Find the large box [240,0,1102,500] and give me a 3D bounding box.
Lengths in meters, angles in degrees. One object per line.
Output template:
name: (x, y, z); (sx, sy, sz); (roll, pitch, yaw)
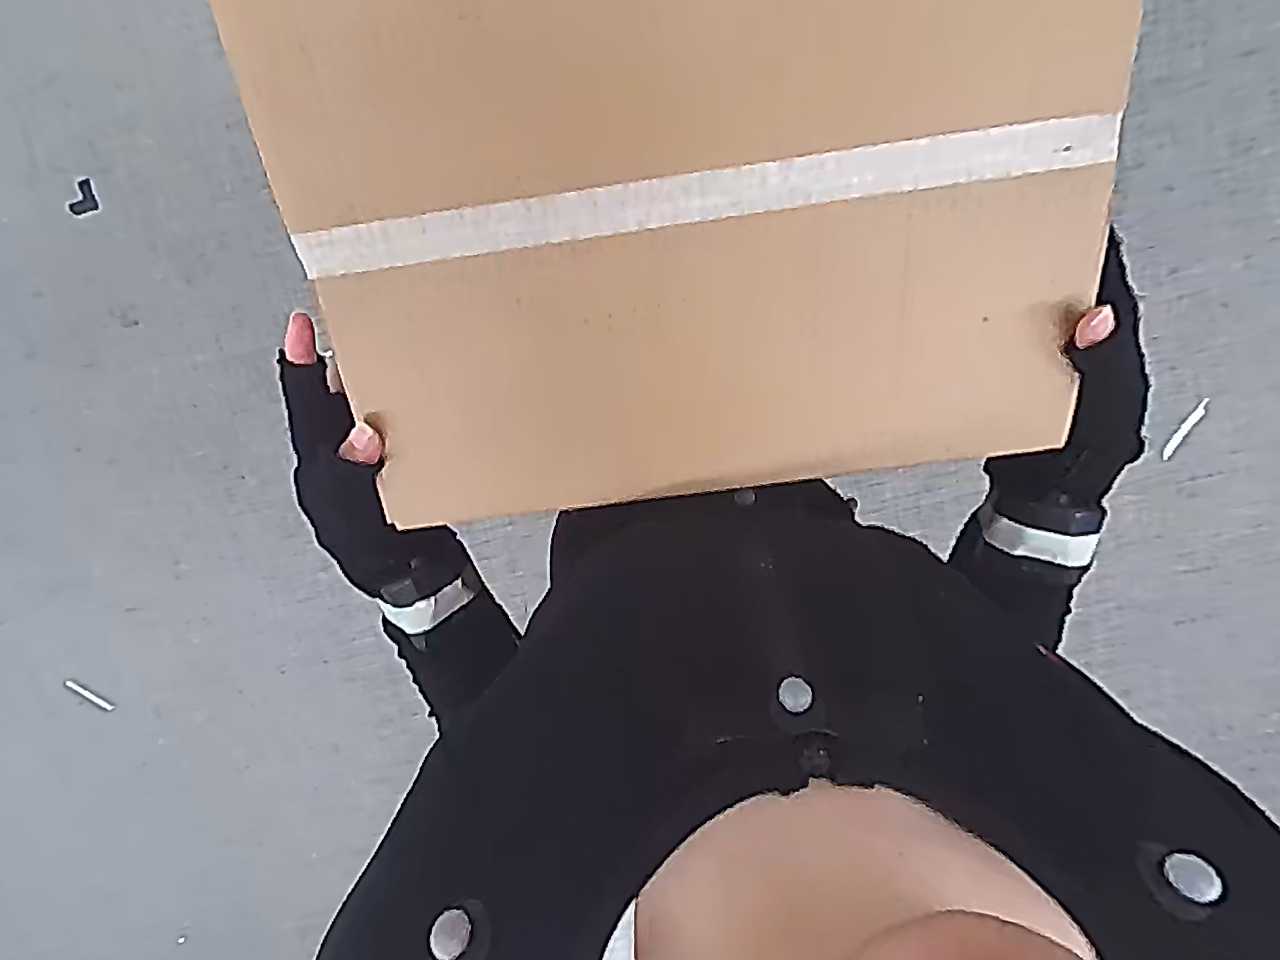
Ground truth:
large box: (0.021, -0.207, 0.418); (0.408, 0.320, 0.320); (-7, 112, 2)
